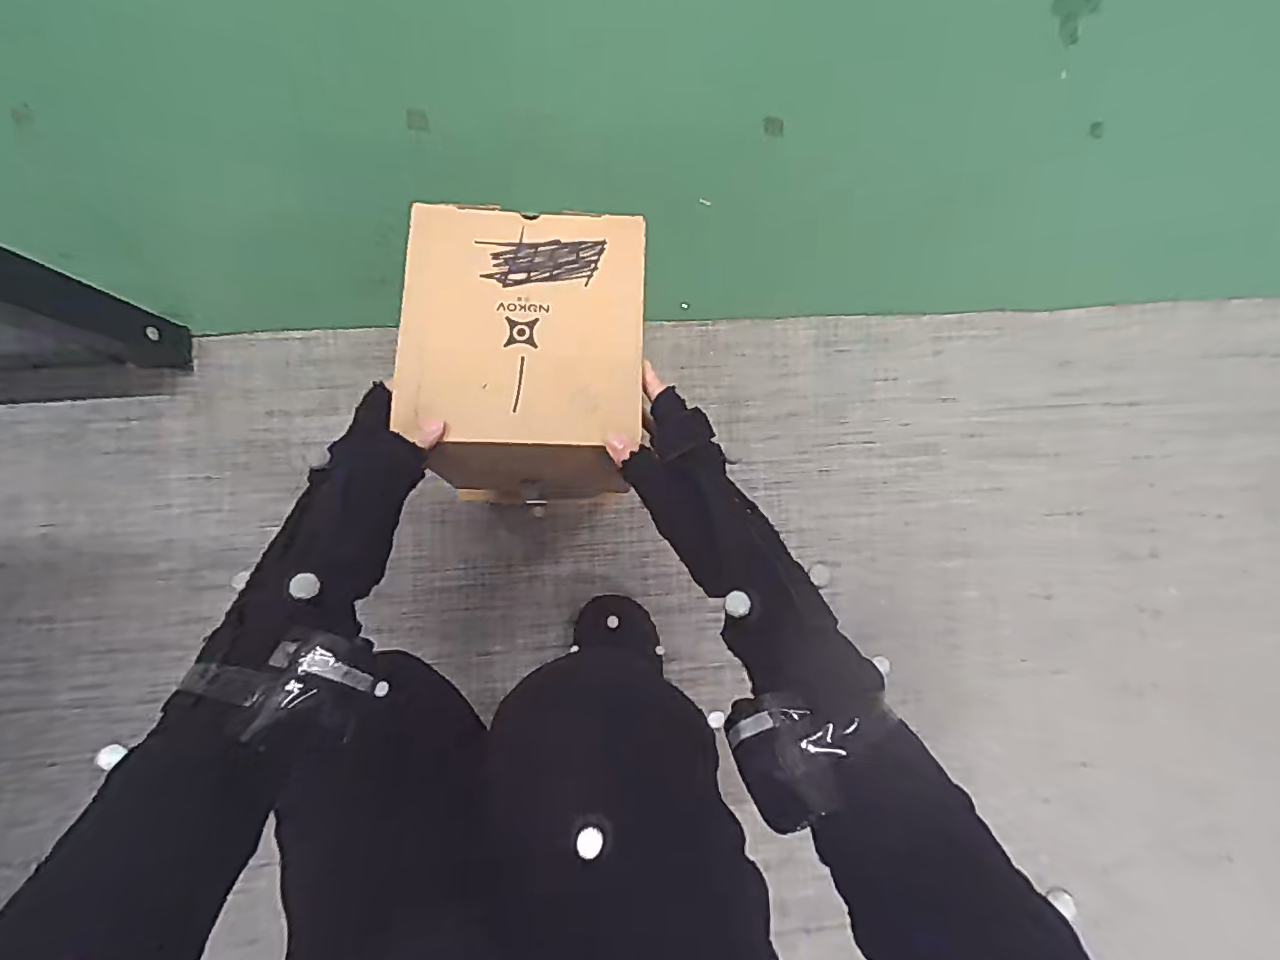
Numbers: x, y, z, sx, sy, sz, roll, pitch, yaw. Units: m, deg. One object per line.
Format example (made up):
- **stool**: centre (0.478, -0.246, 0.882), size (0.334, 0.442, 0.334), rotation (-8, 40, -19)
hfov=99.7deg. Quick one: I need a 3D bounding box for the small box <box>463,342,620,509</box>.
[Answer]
- **small box**: centre (-0.109, -0.055, 0.652), size (0.168, 0.176, 0.179), rotation (-1, 87, -3)
